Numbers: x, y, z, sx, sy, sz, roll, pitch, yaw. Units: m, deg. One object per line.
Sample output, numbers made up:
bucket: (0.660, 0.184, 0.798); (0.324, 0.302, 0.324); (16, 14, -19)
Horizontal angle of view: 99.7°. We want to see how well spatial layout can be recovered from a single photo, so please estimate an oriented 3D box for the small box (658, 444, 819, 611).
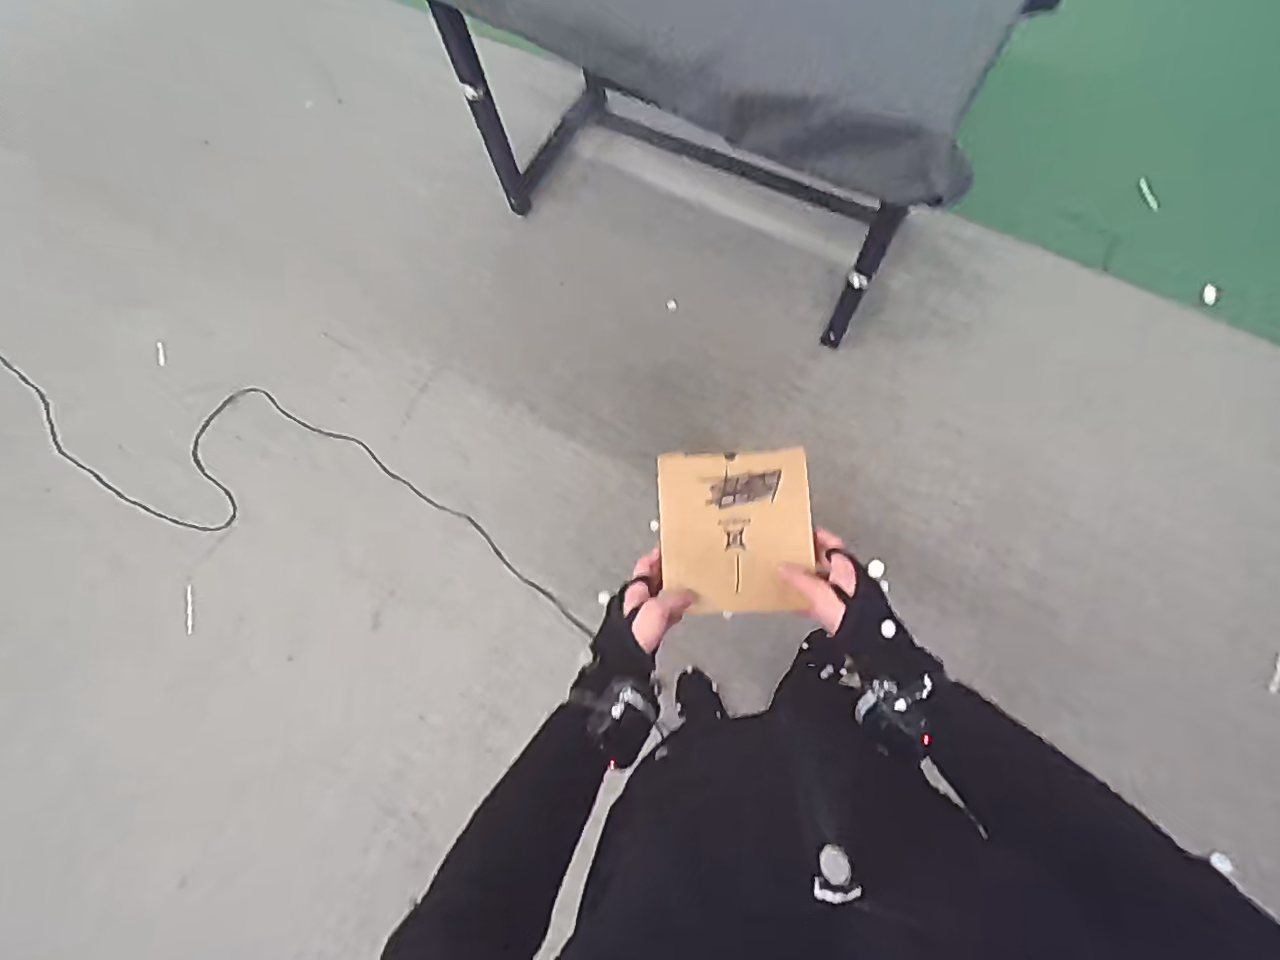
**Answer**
small box: (0.108, 0.063, 0.655); (0.168, 0.176, 0.179); (-3, 81, 5)
